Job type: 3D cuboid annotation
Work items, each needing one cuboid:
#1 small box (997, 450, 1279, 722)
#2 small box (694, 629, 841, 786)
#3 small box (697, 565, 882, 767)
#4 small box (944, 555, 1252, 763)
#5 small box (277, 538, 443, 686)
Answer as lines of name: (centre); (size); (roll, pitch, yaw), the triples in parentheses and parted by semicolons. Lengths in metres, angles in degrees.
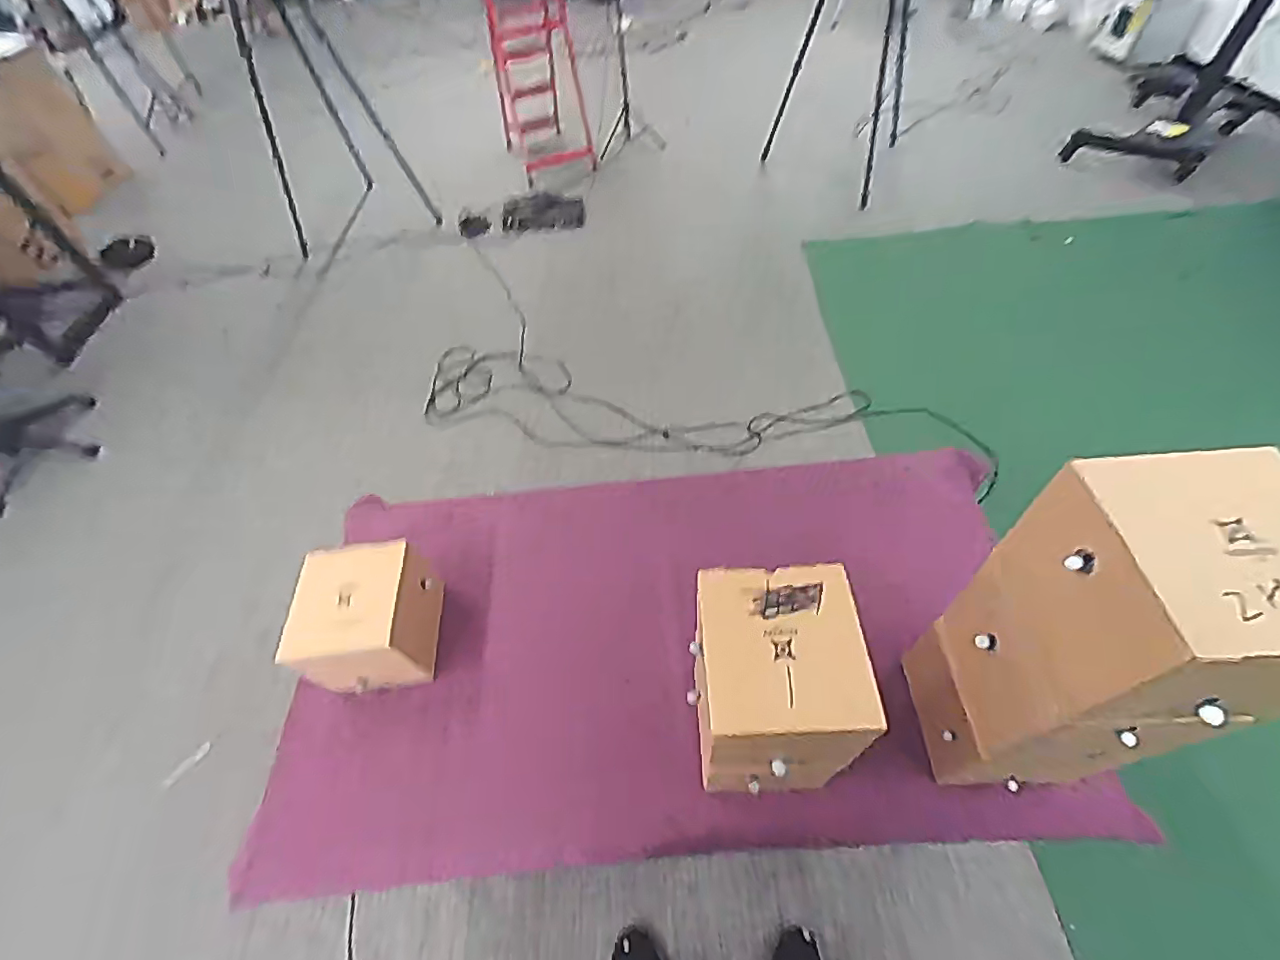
small box: (0.451, 0.096, 0.467); (0.168, 0.176, 0.179); (-3, 53, 5)
small box: (0.164, 0.317, 0.748); (0.168, 0.176, 0.179); (-3, 52, 4)
small box: (0.151, 0.215, 0.619); (0.168, 0.176, 0.179); (-3, 53, 4)
small box: (0.467, 0.198, 0.596); (0.168, 0.176, 0.179); (-3, 52, 5)
small box: (-0.437, 0.217, 0.881); (0.168, 0.176, 0.179); (-7, 54, 1)
